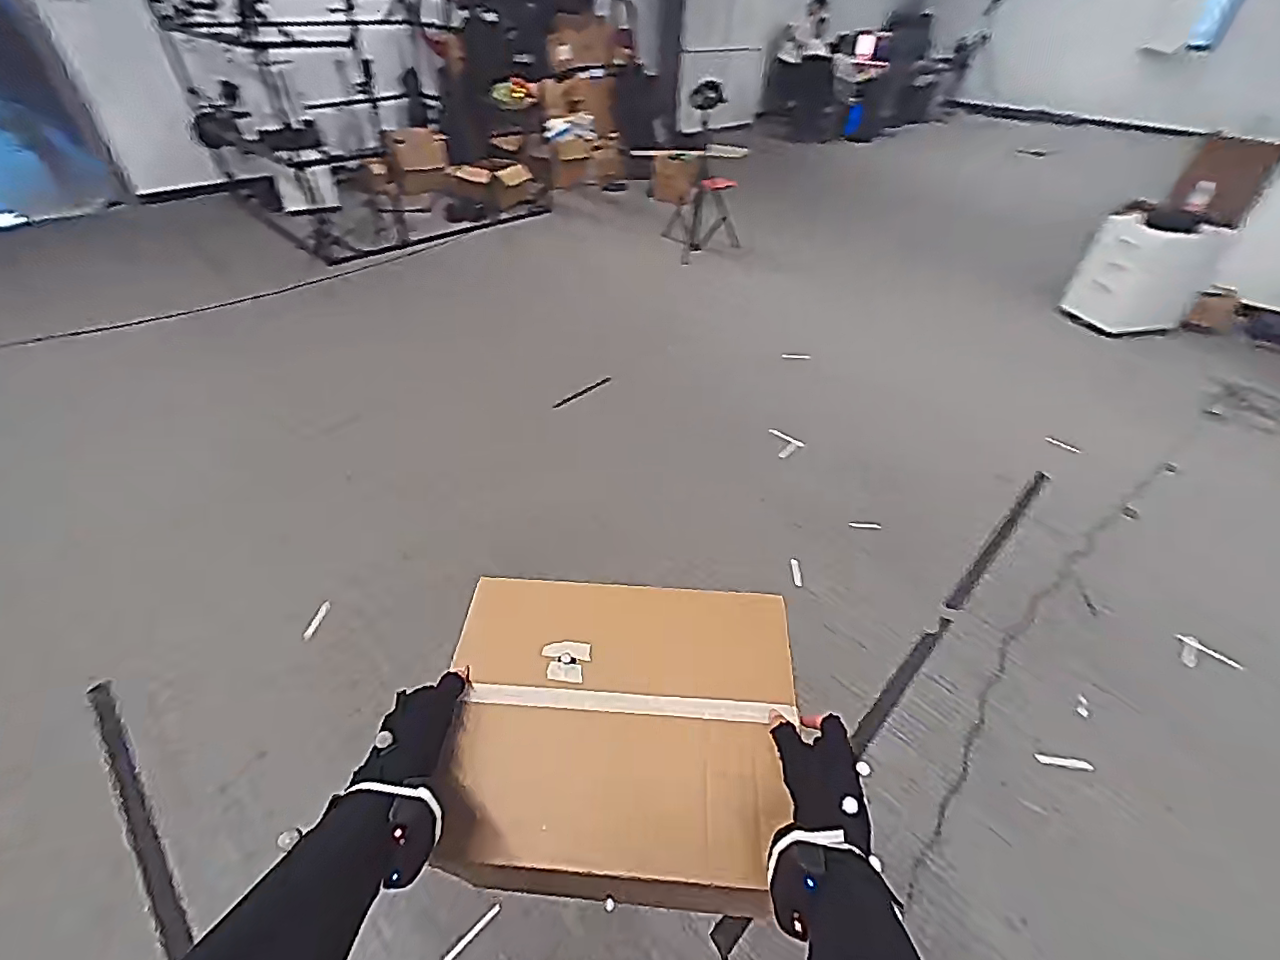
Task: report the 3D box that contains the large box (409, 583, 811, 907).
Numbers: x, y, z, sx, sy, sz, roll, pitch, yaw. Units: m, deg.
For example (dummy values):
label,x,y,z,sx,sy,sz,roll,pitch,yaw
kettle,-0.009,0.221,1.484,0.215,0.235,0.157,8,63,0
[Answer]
label,x,y,z,sx,sy,sz,roll,pitch,yaw
large box,-0.017,0.361,0.734,0.408,0.320,0.320,3,47,5
